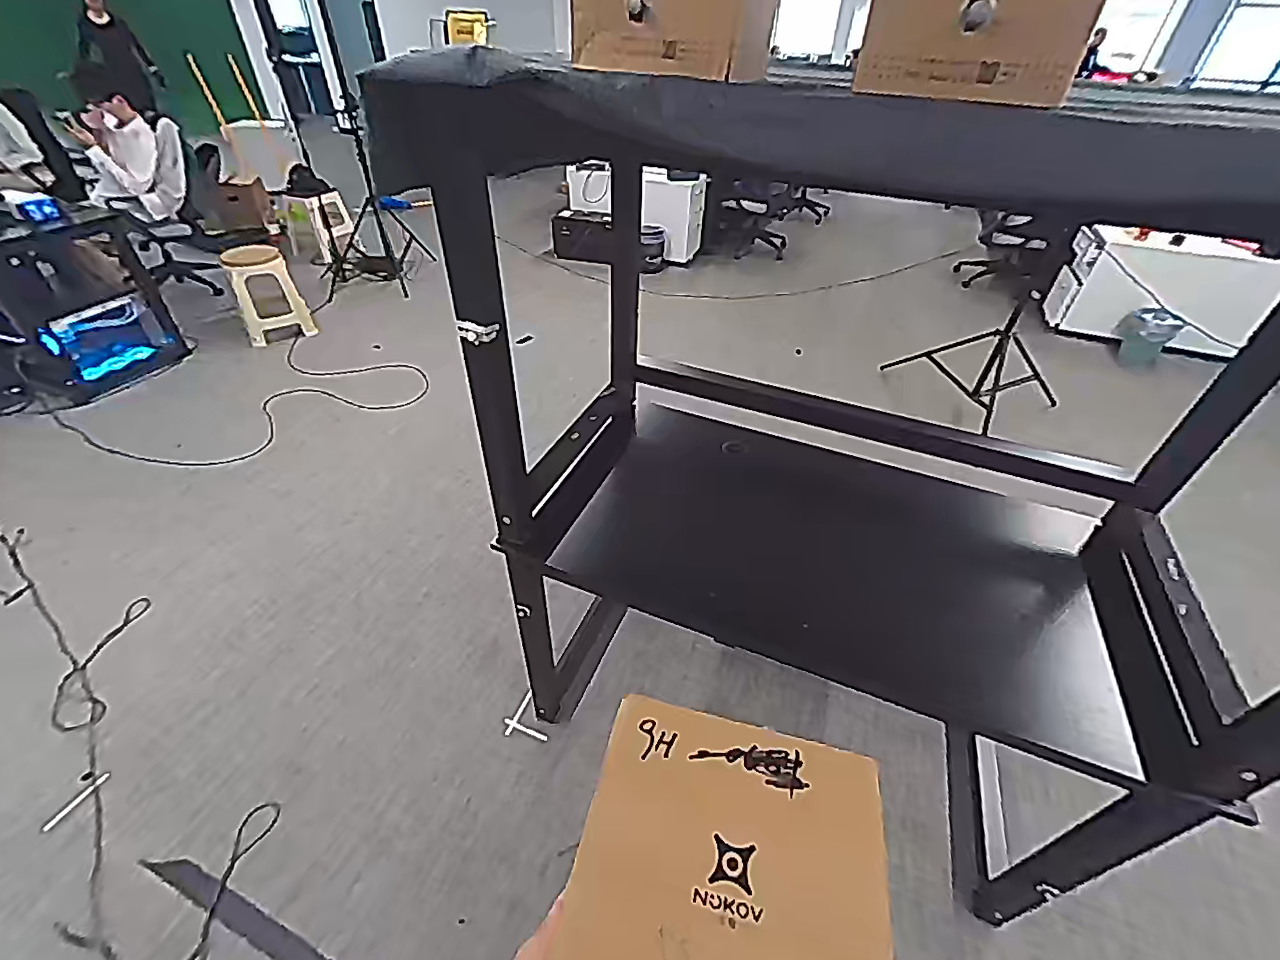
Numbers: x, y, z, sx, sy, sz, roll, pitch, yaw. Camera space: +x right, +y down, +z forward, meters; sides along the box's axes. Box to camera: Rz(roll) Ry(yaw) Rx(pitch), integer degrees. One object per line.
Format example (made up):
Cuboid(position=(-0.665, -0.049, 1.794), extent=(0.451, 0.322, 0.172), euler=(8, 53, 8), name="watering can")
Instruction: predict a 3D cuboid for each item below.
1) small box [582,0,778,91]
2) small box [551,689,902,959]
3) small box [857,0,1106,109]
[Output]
Cuboid(position=(0.046, -0.504, 0.540), extent=(0.168, 0.176, 0.179), euler=(17, 41, 14), name="small box")
Cuboid(position=(0.047, 0.267, 0.336), extent=(0.168, 0.176, 0.179), euler=(12, 44, 8), name="small box")
Cuboid(position=(0.298, -0.431, 0.463), extent=(0.168, 0.176, 0.179), euler=(17, 40, 16), name="small box")
